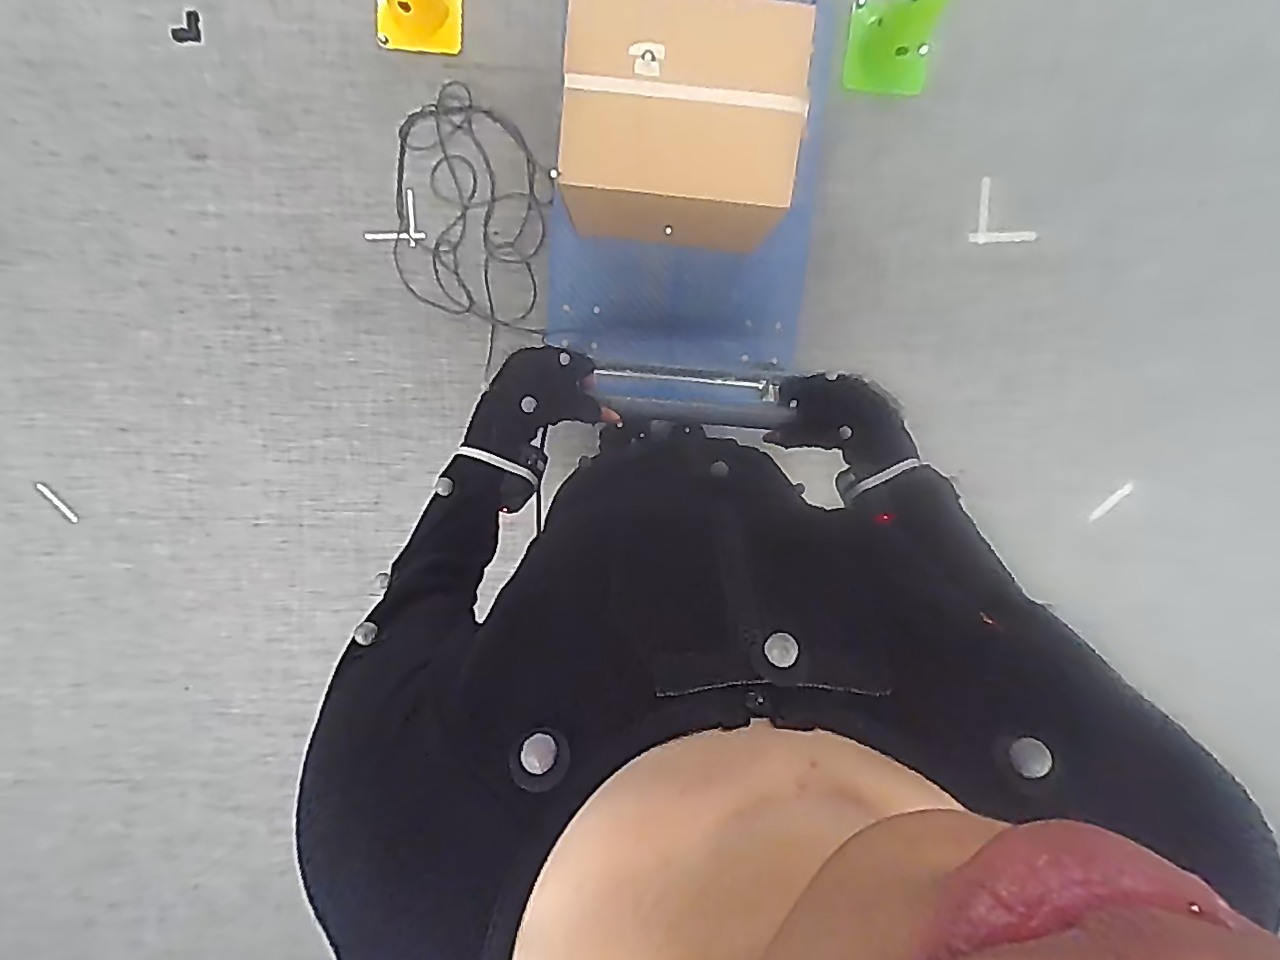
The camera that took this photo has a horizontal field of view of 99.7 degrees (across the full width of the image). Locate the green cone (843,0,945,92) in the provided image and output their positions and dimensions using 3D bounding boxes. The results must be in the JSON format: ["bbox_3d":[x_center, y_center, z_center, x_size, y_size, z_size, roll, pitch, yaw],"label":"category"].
[{"bbox_3d":[0.604,-1.031,1.143,0.202,0.368,0.200,4,99,-2],"label":"green cone"}]

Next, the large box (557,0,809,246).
[{"bbox_3d":[0.071,-0.664,1.051,0.408,0.320,0.320,6,99,-1],"label":"large box"}]
